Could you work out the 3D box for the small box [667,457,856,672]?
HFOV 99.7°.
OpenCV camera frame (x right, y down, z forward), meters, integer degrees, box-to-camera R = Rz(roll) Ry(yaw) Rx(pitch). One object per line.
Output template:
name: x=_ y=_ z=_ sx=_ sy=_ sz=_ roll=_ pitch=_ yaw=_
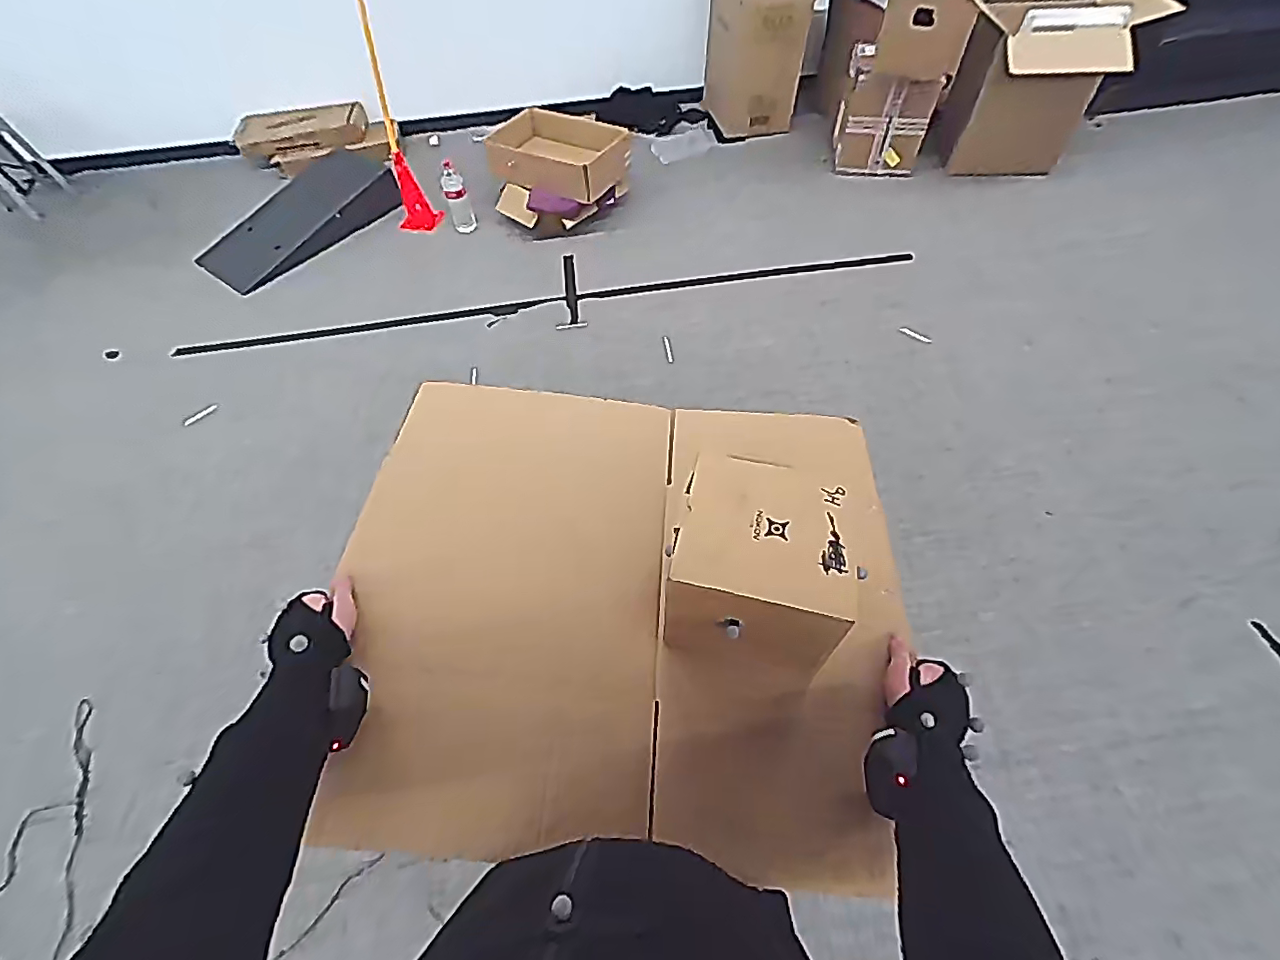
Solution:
small box: x=0.133 y=0.100 z=0.615 sx=0.179 sy=0.176 sz=0.168 roll=10 pitch=54 yaw=10
